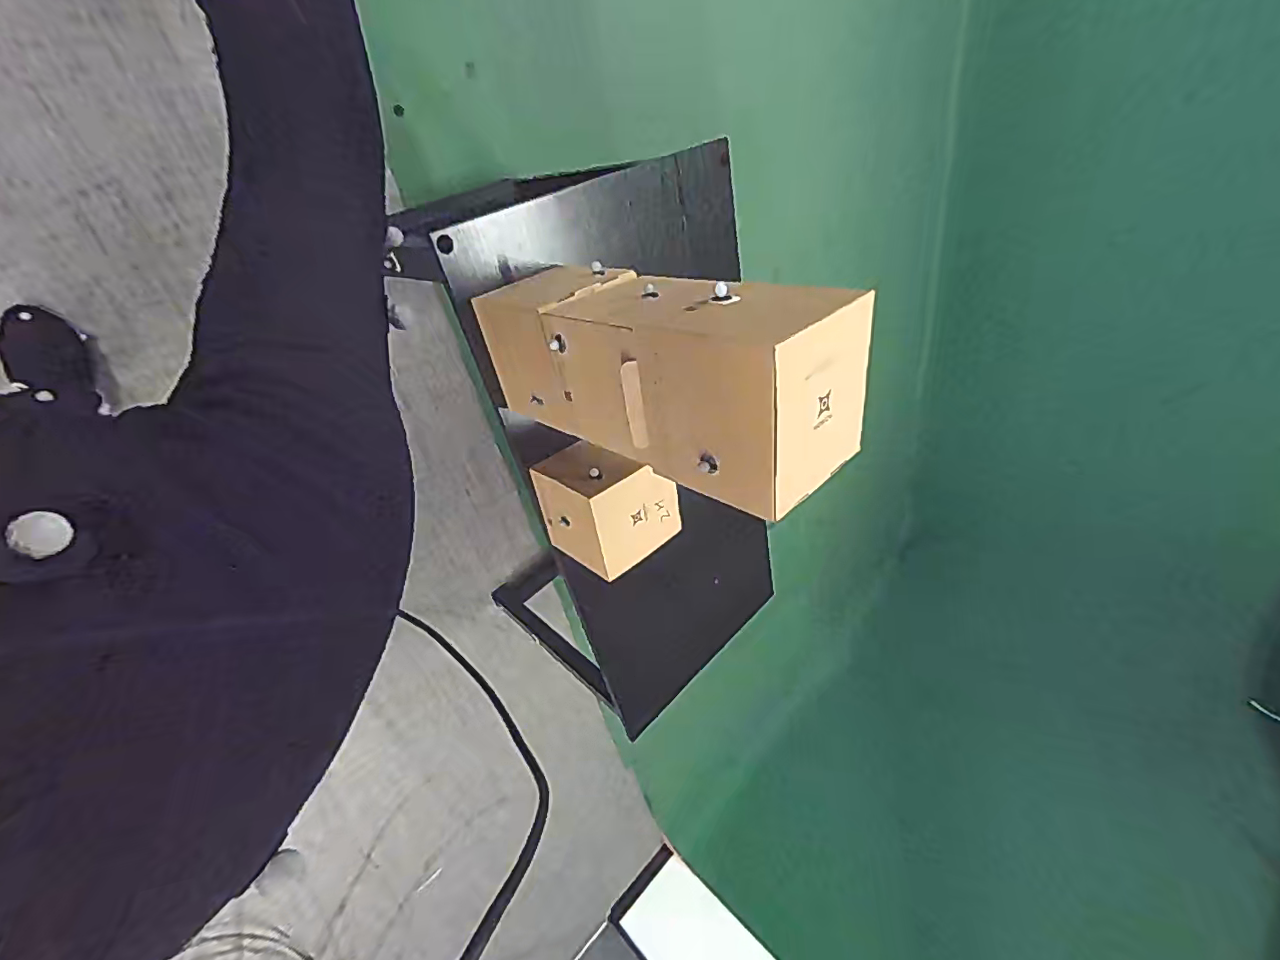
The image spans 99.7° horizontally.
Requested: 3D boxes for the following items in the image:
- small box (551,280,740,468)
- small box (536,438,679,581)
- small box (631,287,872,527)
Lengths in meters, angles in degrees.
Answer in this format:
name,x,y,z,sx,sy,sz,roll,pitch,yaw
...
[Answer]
name,x,y,z,sx,sy,sz,roll,pitch,yaw
small box,0.009,-0.141,0.669,0.179,0.176,0.168,-33,129,-32
small box,-0.059,0.035,0.924,0.179,0.176,0.168,-32,128,-31
small box,0.112,-0.086,0.555,0.168,0.176,0.179,-33,129,-33
